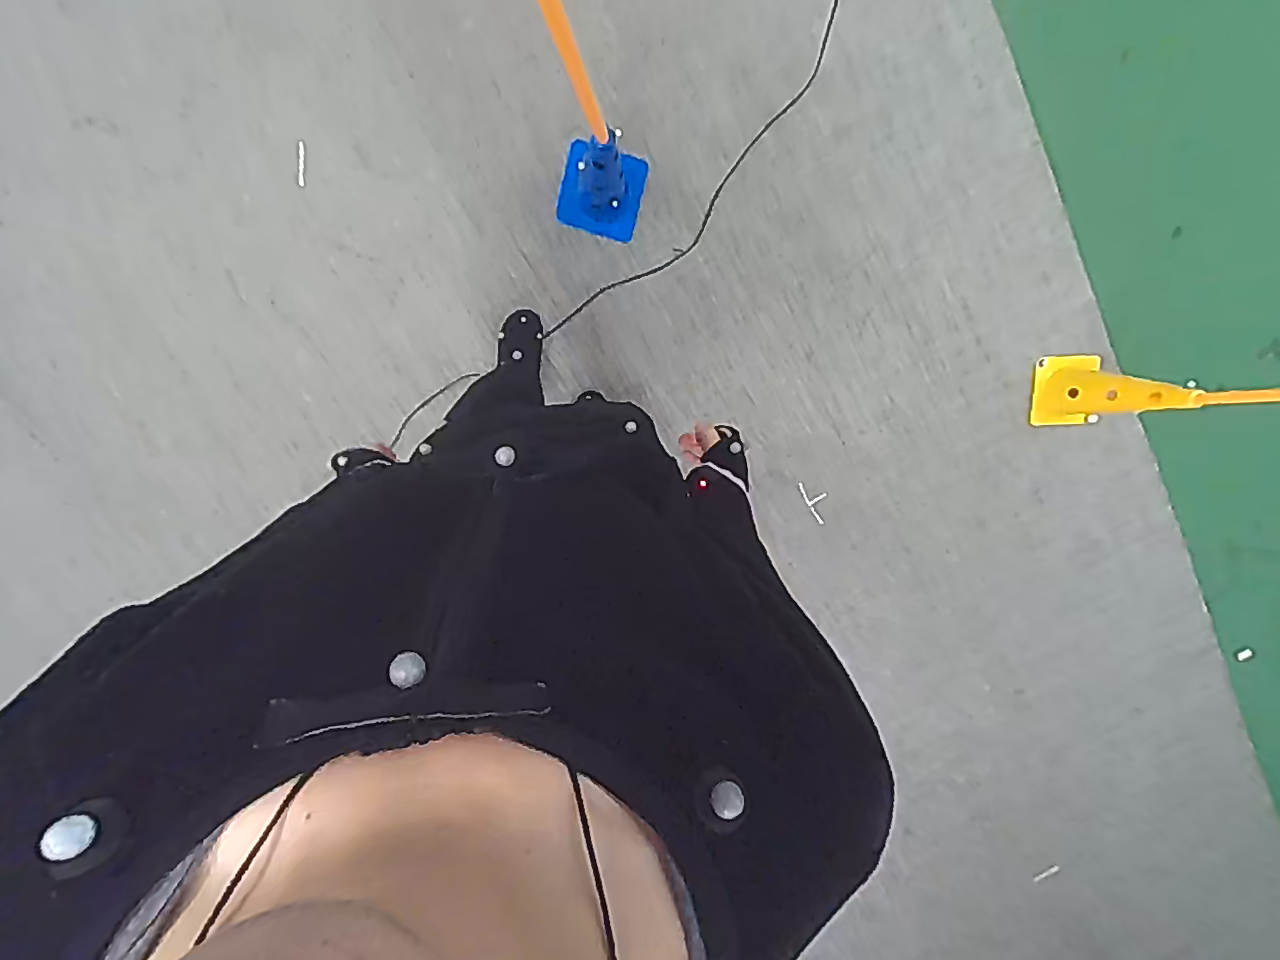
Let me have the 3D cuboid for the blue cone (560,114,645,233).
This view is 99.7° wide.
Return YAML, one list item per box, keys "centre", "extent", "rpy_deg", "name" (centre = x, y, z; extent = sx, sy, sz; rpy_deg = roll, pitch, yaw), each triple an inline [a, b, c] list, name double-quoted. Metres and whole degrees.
- centre: [-0.083, -0.680, 1.167]
  extent: [0.193, 0.380, 0.192]
  rpy_deg: [13, 102, -6]
  name: "blue cone"
